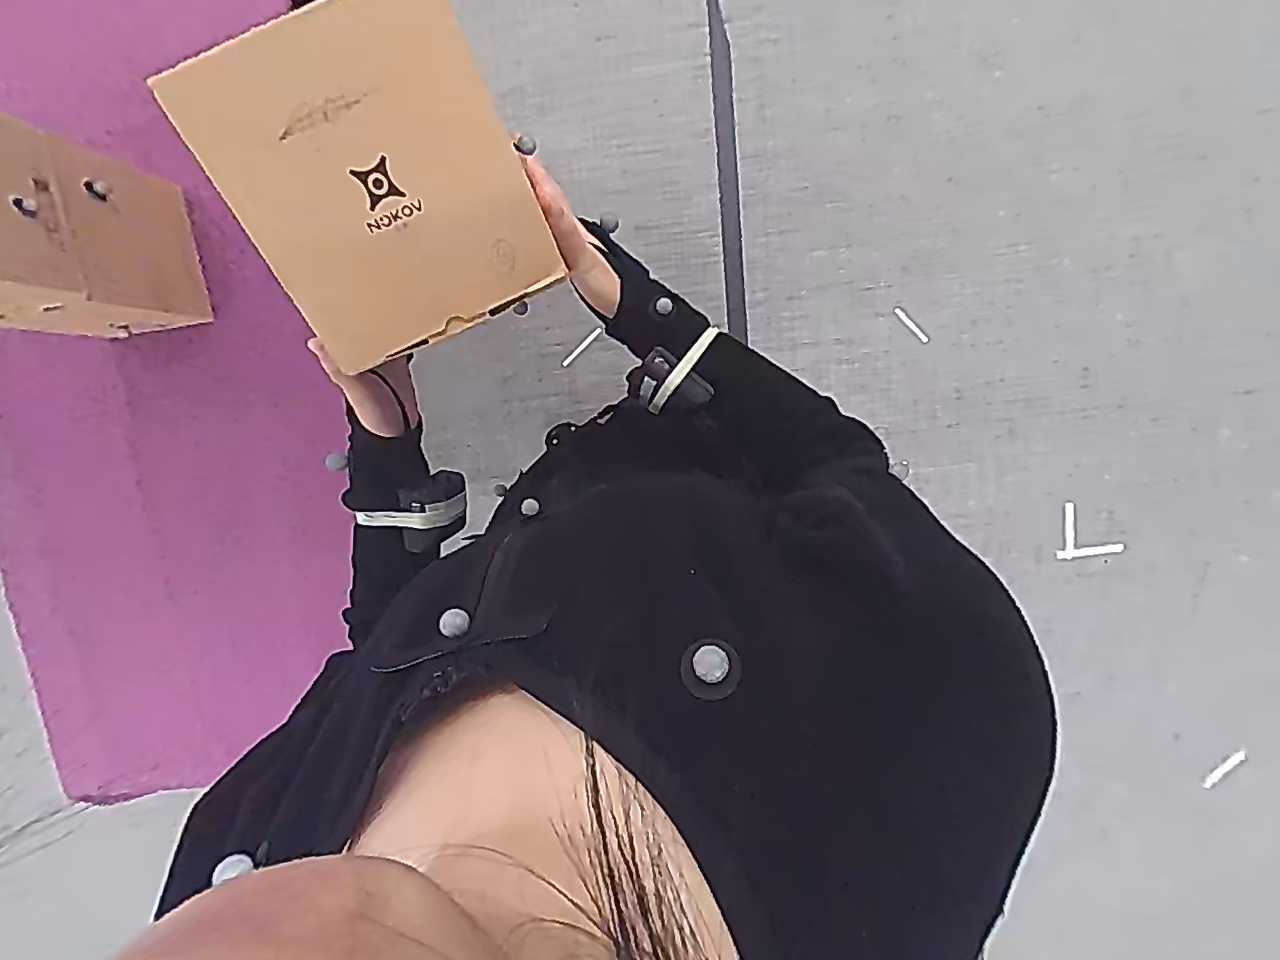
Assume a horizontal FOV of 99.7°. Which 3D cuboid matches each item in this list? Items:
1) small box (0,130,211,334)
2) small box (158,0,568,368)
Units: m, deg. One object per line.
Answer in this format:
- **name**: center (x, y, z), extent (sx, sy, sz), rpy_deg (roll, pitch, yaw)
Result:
- **small box**: center (-0.680, -0.283, 0.657), extent (0.168, 0.176, 0.179), rpy_deg (-7, 99, 5)
- **small box**: center (-0.162, -0.207, 0.391), extent (0.168, 0.176, 0.179), rpy_deg (-24, 115, 1)
